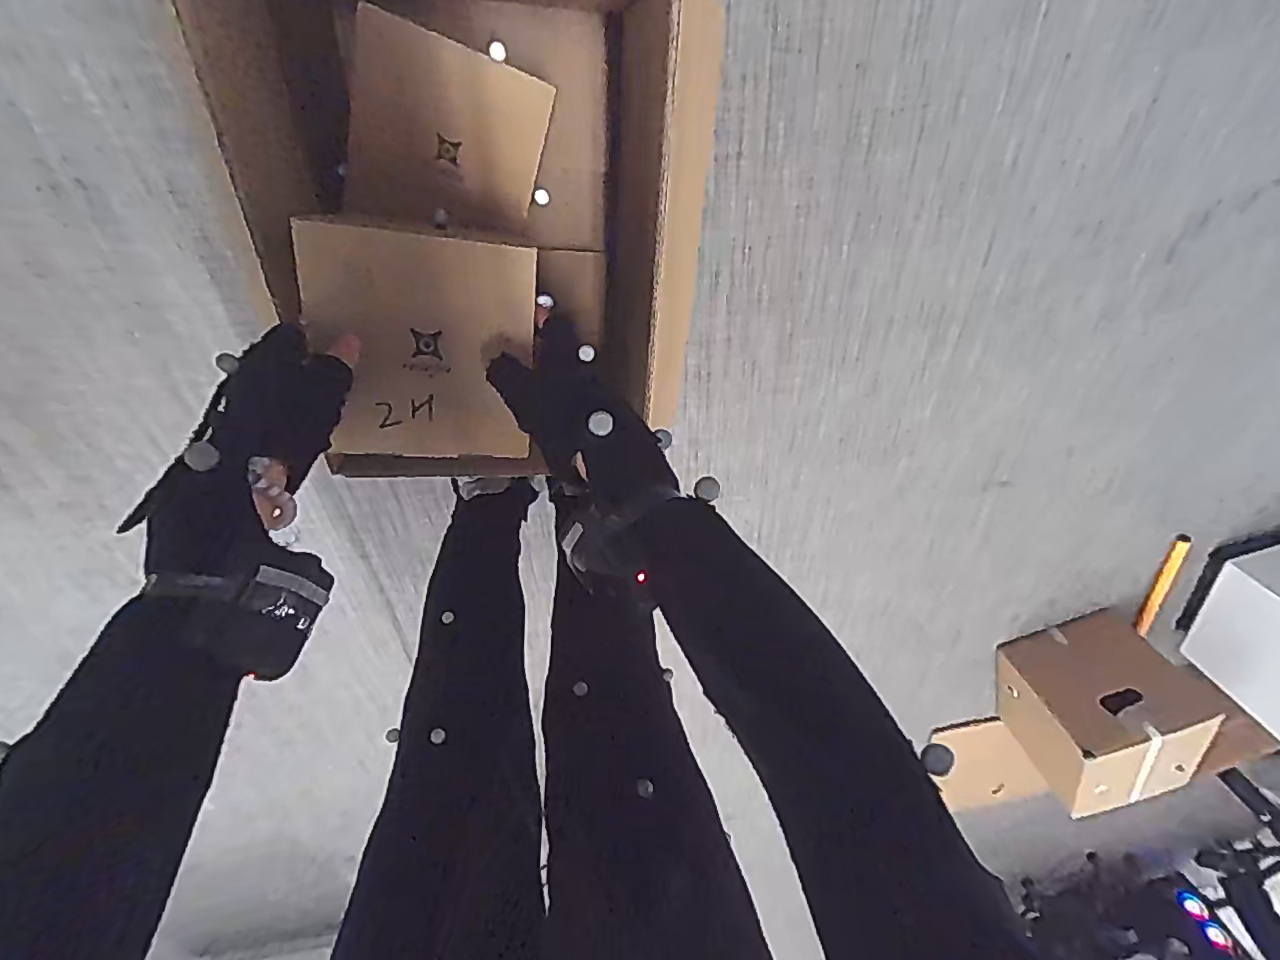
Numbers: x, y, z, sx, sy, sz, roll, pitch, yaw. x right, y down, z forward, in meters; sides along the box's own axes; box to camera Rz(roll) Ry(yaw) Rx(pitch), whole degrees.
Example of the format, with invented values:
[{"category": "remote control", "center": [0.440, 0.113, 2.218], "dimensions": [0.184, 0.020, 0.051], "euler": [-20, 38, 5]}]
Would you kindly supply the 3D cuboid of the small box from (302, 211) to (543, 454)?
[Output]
[{"category": "small box", "center": [-0.183, -0.138, 0.491], "dimensions": [0.168, 0.176, 0.179], "euler": [1, 117, -15]}]
